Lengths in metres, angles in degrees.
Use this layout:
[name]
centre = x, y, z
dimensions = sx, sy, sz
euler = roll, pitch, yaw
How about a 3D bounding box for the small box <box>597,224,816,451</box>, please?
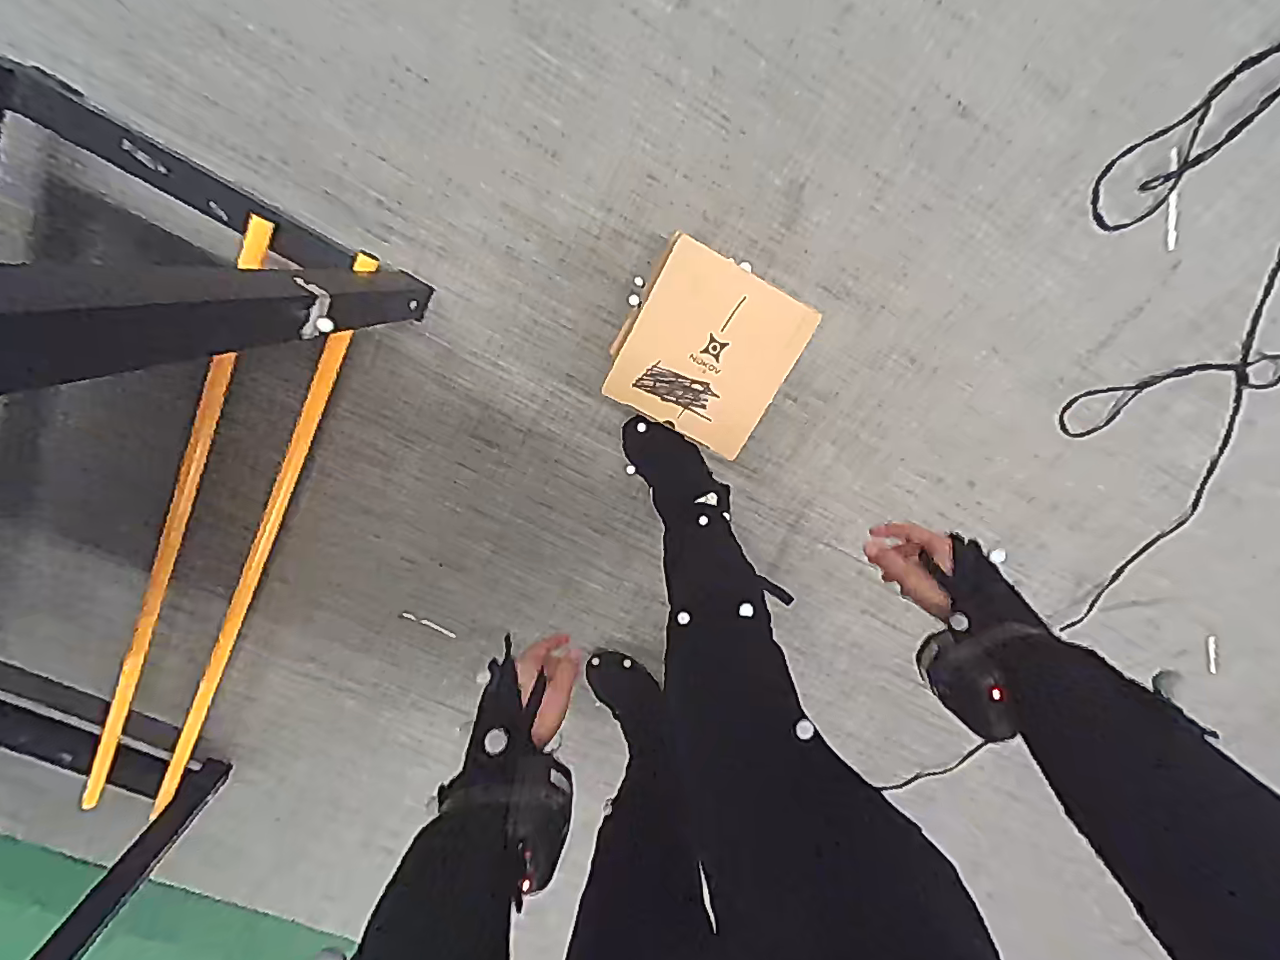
[small box]
centre = 0.066, -0.165, 0.626
dimensions = 0.168, 0.176, 0.179
euler = 27, 108, -11
